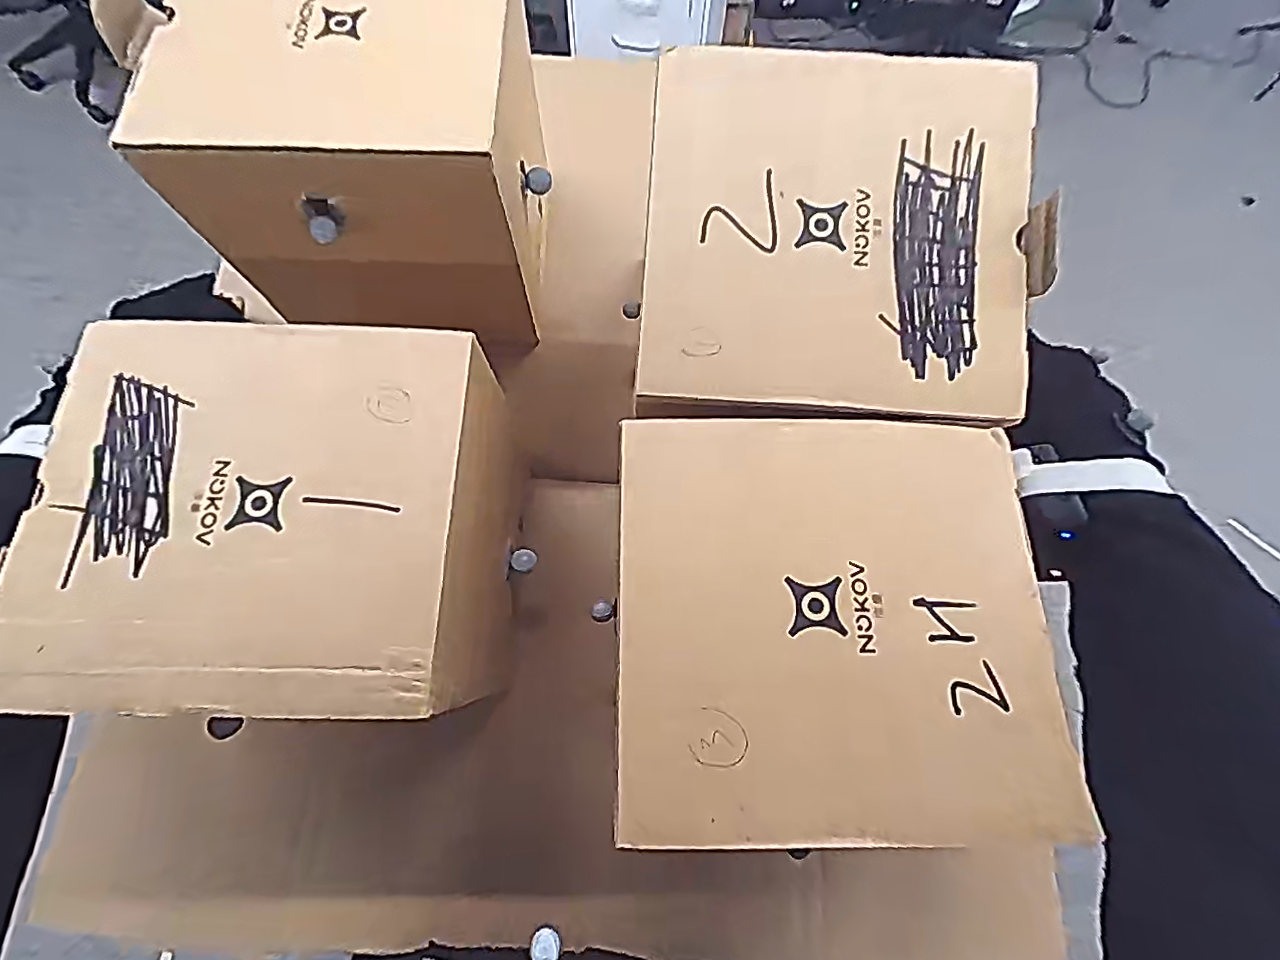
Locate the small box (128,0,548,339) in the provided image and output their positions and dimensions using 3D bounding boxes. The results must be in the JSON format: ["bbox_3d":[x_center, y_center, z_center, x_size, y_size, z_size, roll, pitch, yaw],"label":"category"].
[{"bbox_3d":[-0.159,-0.207,0.357,0.179,0.176,0.168,-1,73,0],"label":"small box"}]
